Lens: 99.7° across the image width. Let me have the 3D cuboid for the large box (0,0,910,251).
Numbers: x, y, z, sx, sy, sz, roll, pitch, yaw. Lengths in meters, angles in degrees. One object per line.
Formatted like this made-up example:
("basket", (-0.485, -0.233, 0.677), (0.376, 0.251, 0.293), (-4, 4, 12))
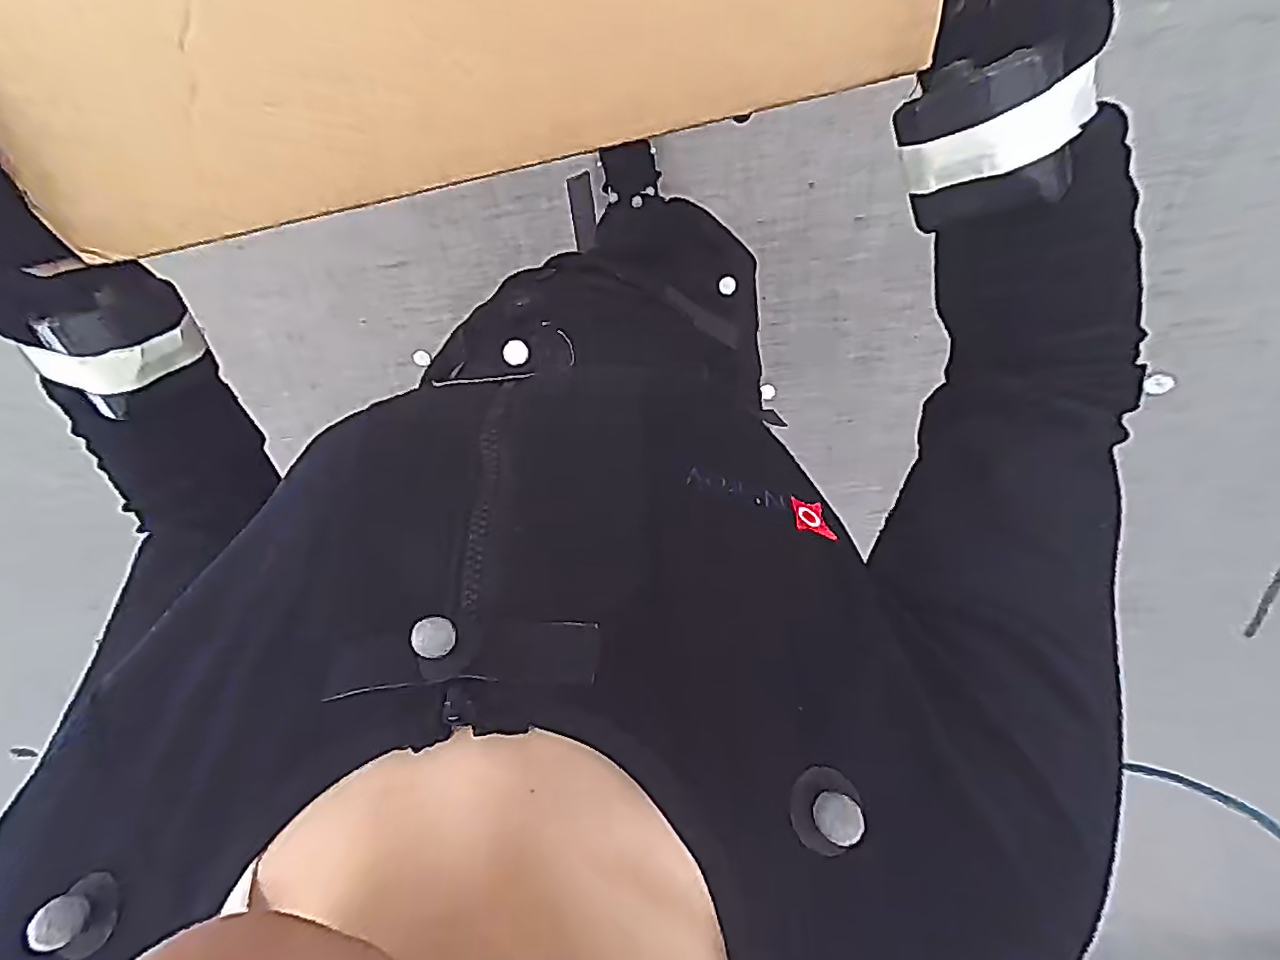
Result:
("large box", (-0.115, -0.362, 0.251), (0.408, 0.320, 0.320), (-10, 135, 4))
